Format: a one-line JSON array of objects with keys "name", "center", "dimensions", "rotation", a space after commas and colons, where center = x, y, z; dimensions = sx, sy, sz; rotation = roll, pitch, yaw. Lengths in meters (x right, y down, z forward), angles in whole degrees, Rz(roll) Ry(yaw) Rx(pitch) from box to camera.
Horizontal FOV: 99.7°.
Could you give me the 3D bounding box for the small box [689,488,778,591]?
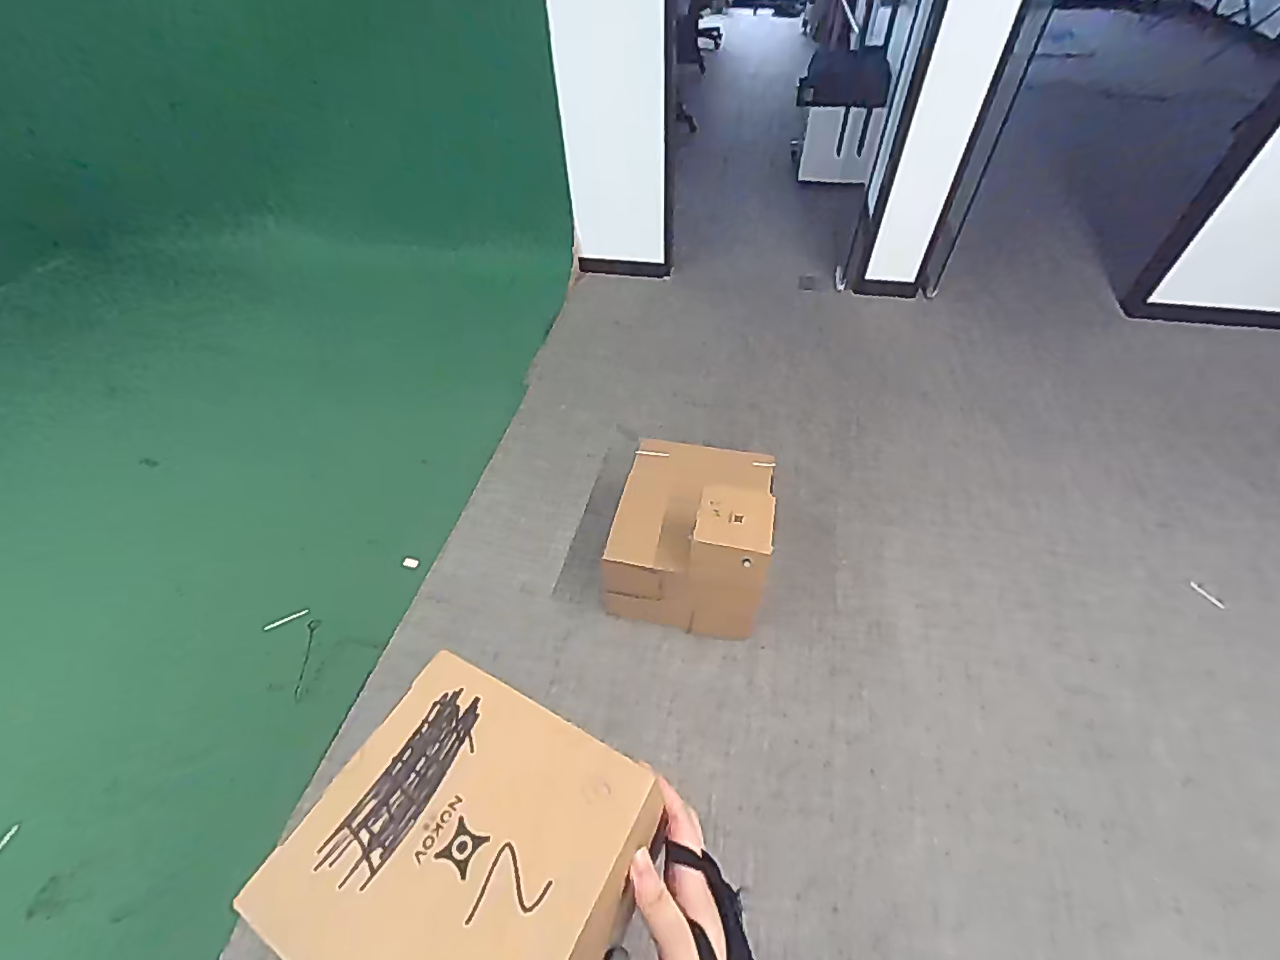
[{"name": "small box", "center": [0.220, 0.145, 1.287], "dimensions": [0.179, 0.176, 0.168], "rotation": [10, 50, 10]}]
